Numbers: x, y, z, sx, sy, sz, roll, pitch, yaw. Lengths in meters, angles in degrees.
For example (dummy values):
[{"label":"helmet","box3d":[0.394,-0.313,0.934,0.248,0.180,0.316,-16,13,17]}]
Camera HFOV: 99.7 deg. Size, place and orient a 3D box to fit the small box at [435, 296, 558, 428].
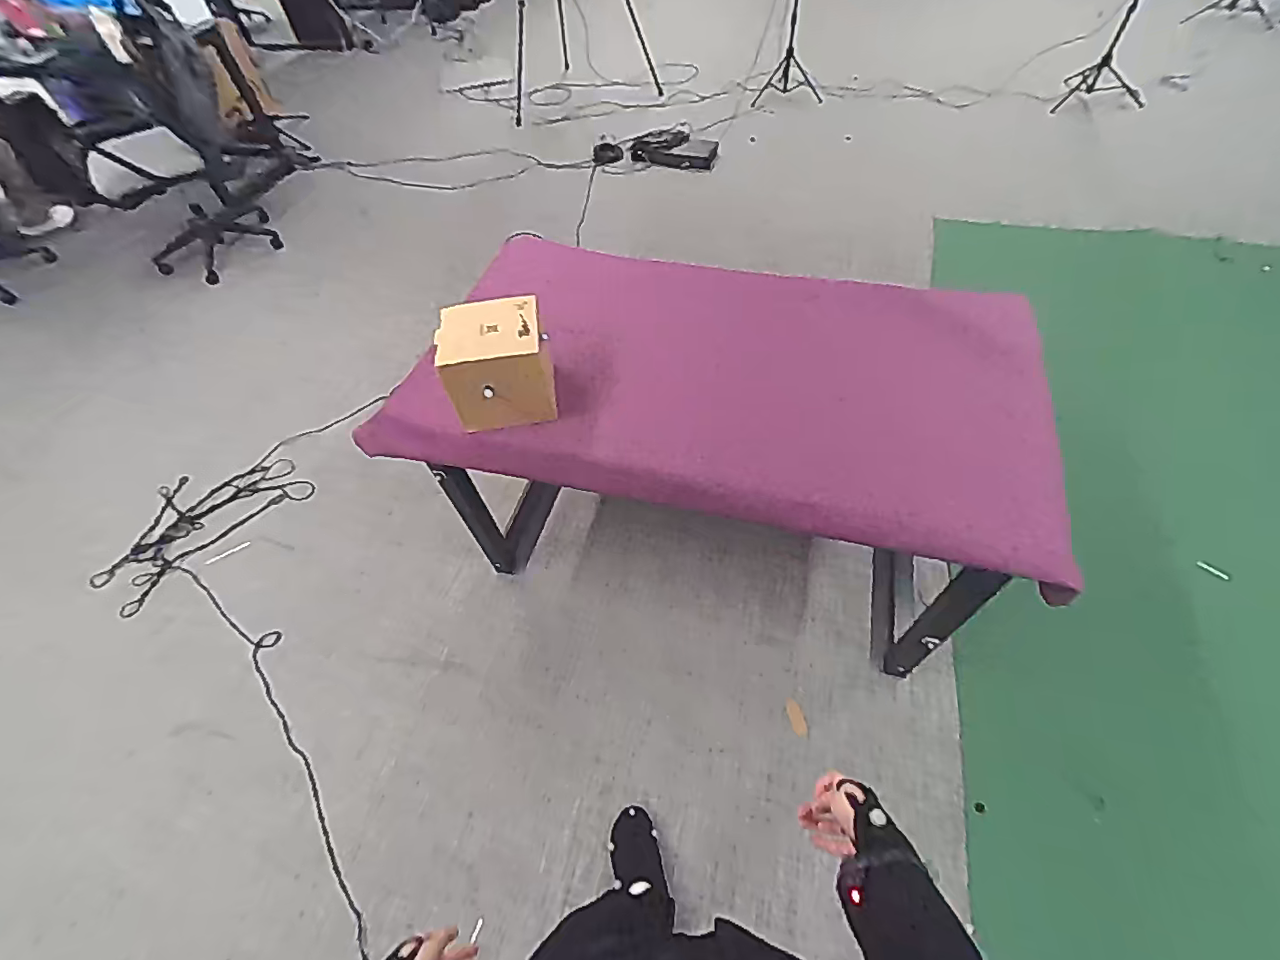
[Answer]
[{"label":"small box","box3d":[-0.258,-0.214,1.006,0.179,0.176,0.168,-9,53,-2]}]
